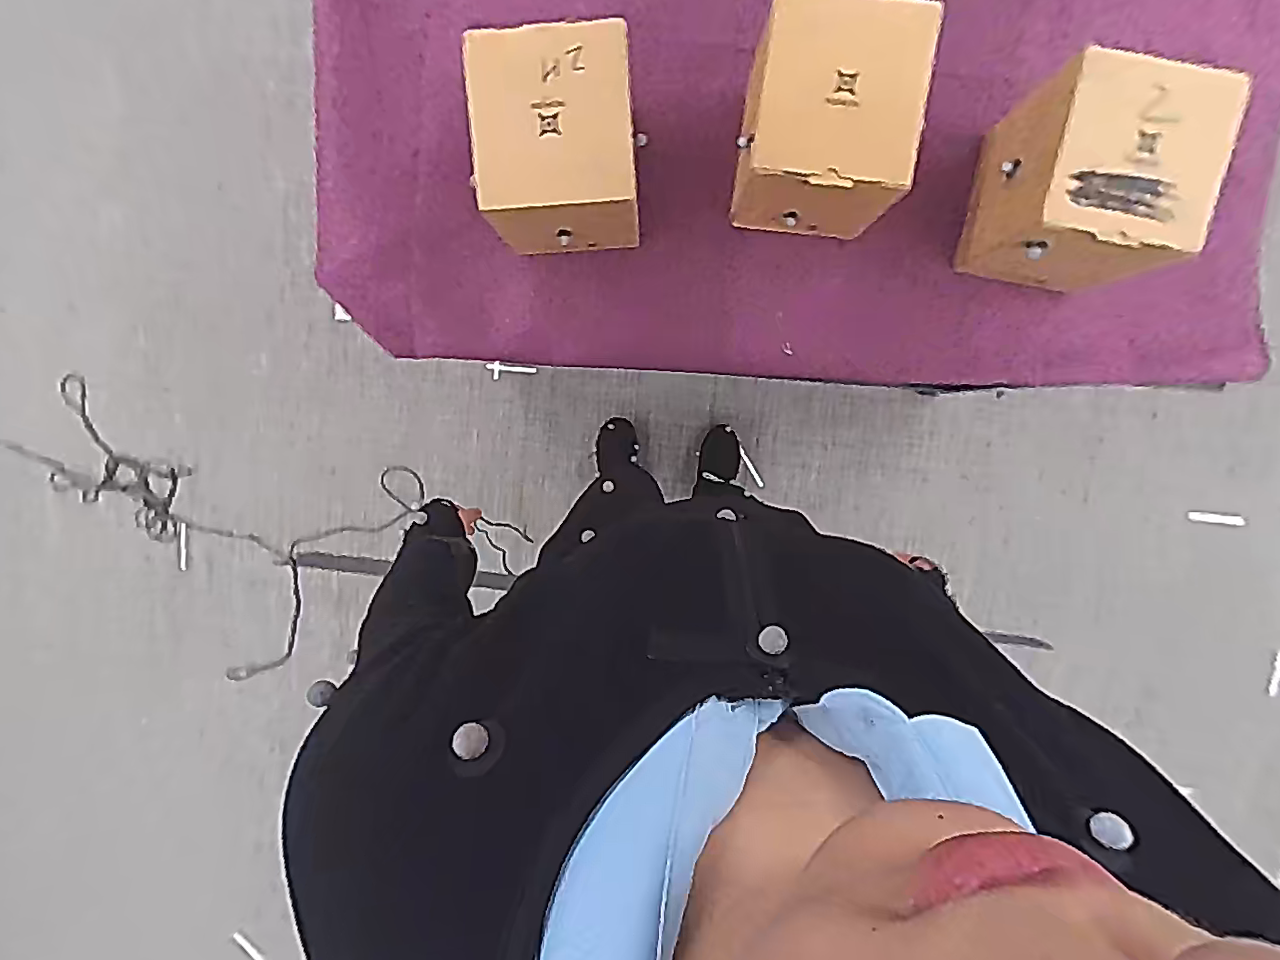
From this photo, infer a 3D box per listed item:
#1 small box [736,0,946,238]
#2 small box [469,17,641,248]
[{"bbox_3d":[0.212,-0.403,0.621,0.168,0.176,0.179,7,98,1],"label":"small box"},{"bbox_3d":[-0.085,-0.381,0.629,0.168,0.176,0.179,-3,97,1],"label":"small box"}]
